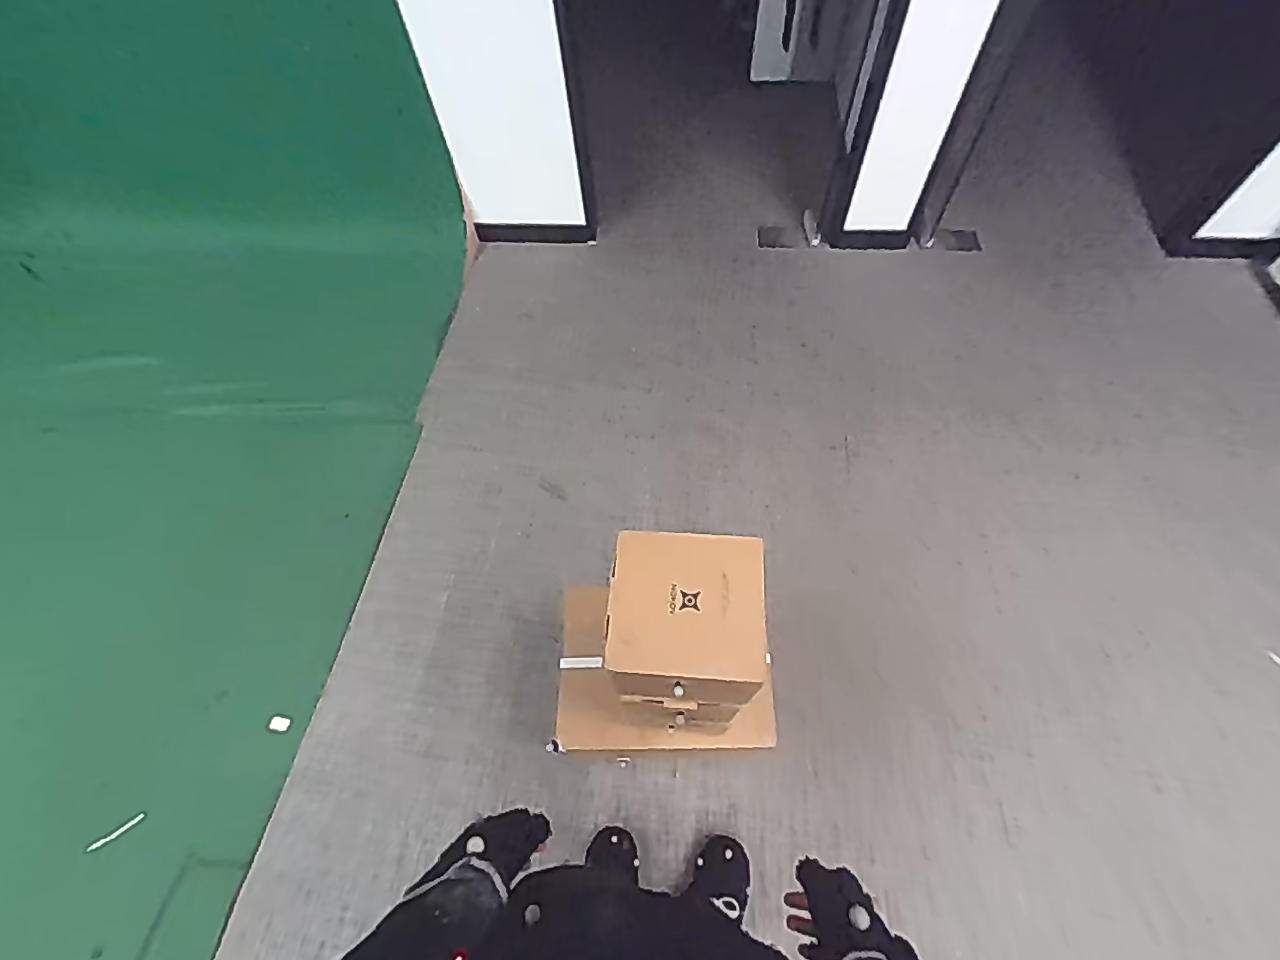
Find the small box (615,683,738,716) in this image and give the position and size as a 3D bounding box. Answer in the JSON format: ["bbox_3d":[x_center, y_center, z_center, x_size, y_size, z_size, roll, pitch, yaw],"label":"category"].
[{"bbox_3d":[0.058,0.254,0.819,0.168,0.176,0.179,2,61,4],"label":"small box"}]

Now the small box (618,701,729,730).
[{"bbox_3d":[0.064,0.342,0.956,0.179,0.176,0.168,3,60,6],"label":"small box"}]

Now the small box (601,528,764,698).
[{"bbox_3d":[0.054,0.172,0.678,0.179,0.176,0.168,3,62,4],"label":"small box"}]
